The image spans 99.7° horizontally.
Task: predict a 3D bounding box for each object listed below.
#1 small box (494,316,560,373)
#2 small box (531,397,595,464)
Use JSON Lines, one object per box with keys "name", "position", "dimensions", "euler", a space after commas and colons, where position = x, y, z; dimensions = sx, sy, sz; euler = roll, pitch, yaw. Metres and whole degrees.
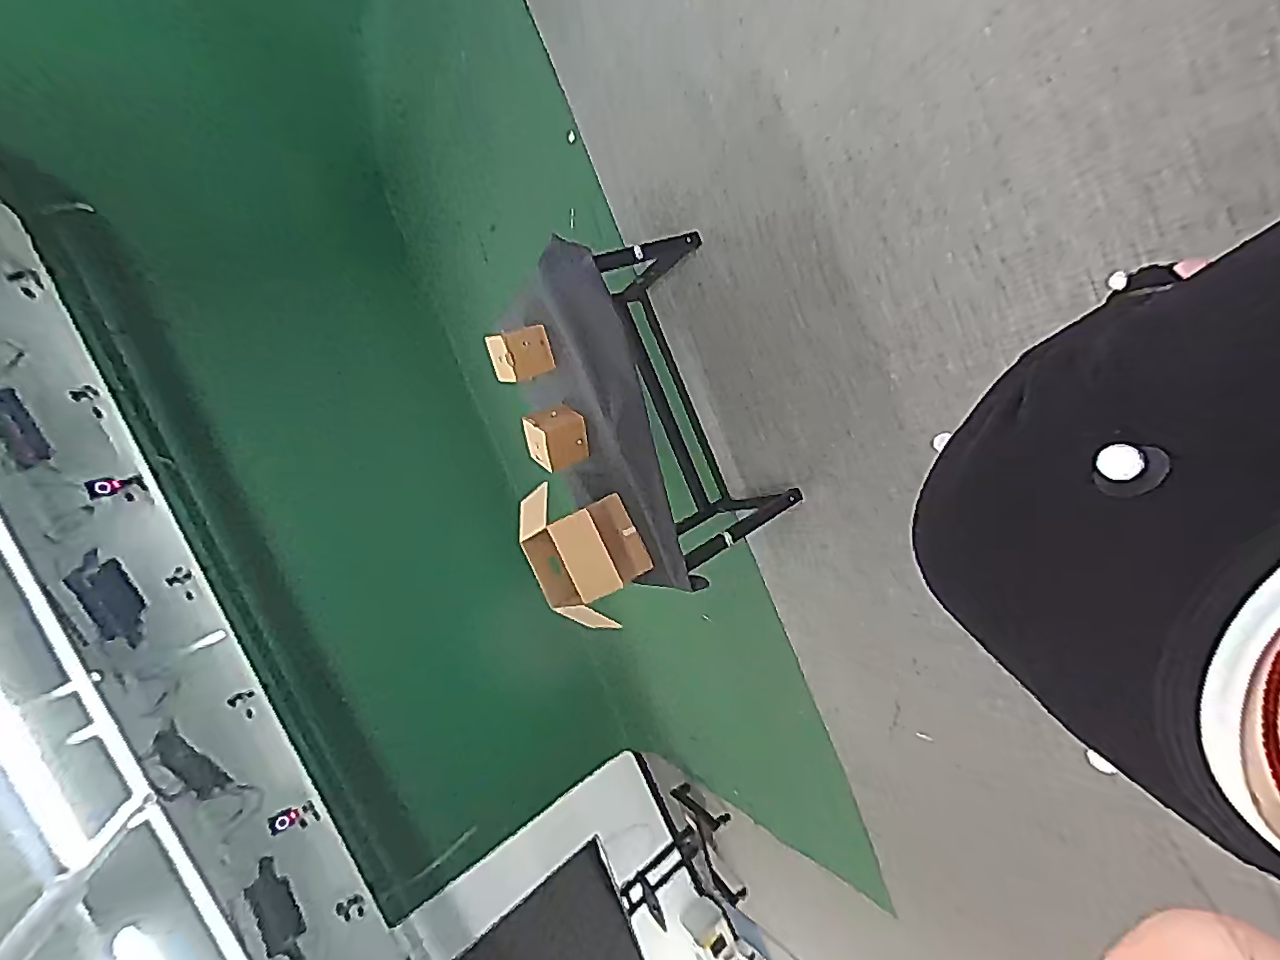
{"name": "small box", "position": [-0.407, -0.498, 1.983], "dimensions": [0.179, 0.176, 0.168], "euler": [18, 126, 55]}
{"name": "small box", "position": [-0.284, -0.193, 2.025], "dimensions": [0.168, 0.176, 0.179], "euler": [35, 139, 42]}
